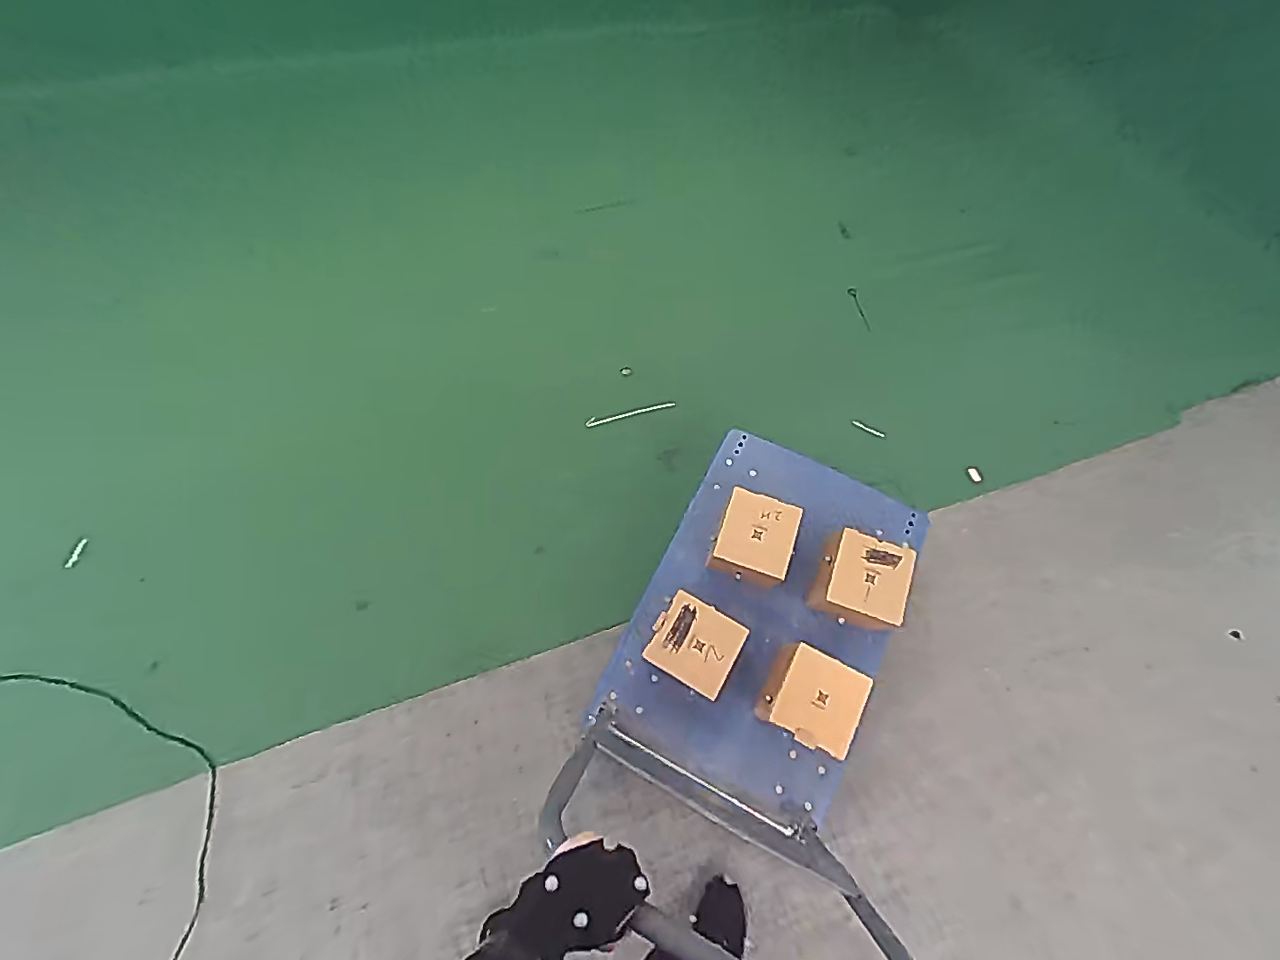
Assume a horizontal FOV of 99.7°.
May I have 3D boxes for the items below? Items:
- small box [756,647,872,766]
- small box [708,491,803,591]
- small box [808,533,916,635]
[{"bbox_3d":[0.371,0.486,1.181,0.168,0.176,0.179,27,74,9],"label":"small box"},{"bbox_3d":[0.269,0.154,1.296,0.168,0.176,0.179,20,72,6],"label":"small box"},{"bbox_3d":[0.510,0.248,1.263,0.168,0.176,0.179,20,73,8],"label":"small box"}]
